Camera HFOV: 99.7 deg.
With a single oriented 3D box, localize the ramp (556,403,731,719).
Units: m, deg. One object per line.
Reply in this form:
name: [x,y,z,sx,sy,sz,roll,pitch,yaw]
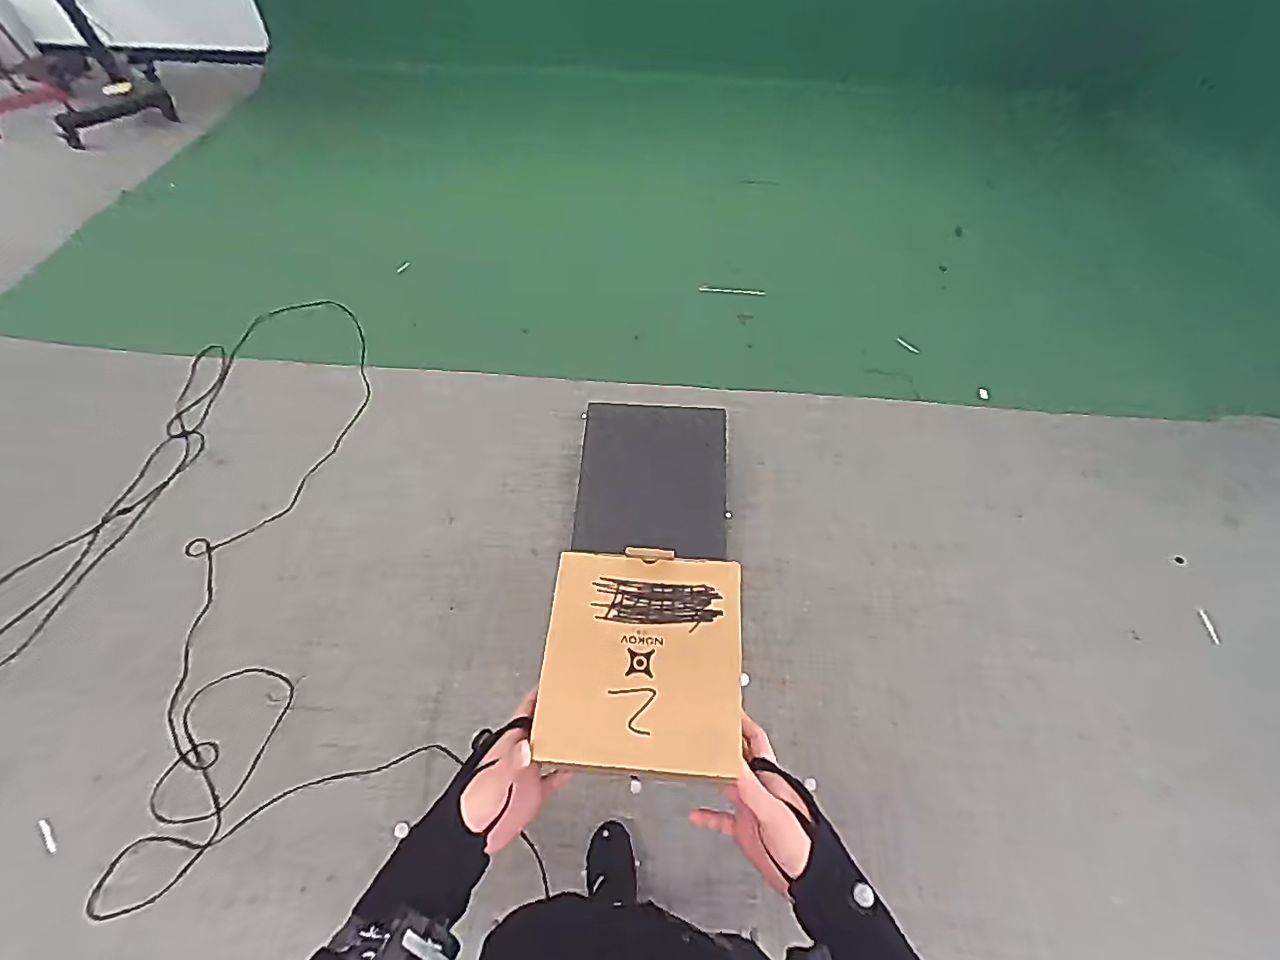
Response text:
ramp: [0.038,0.195,1.698,0.509,0.206,0.991,2,55,0]
